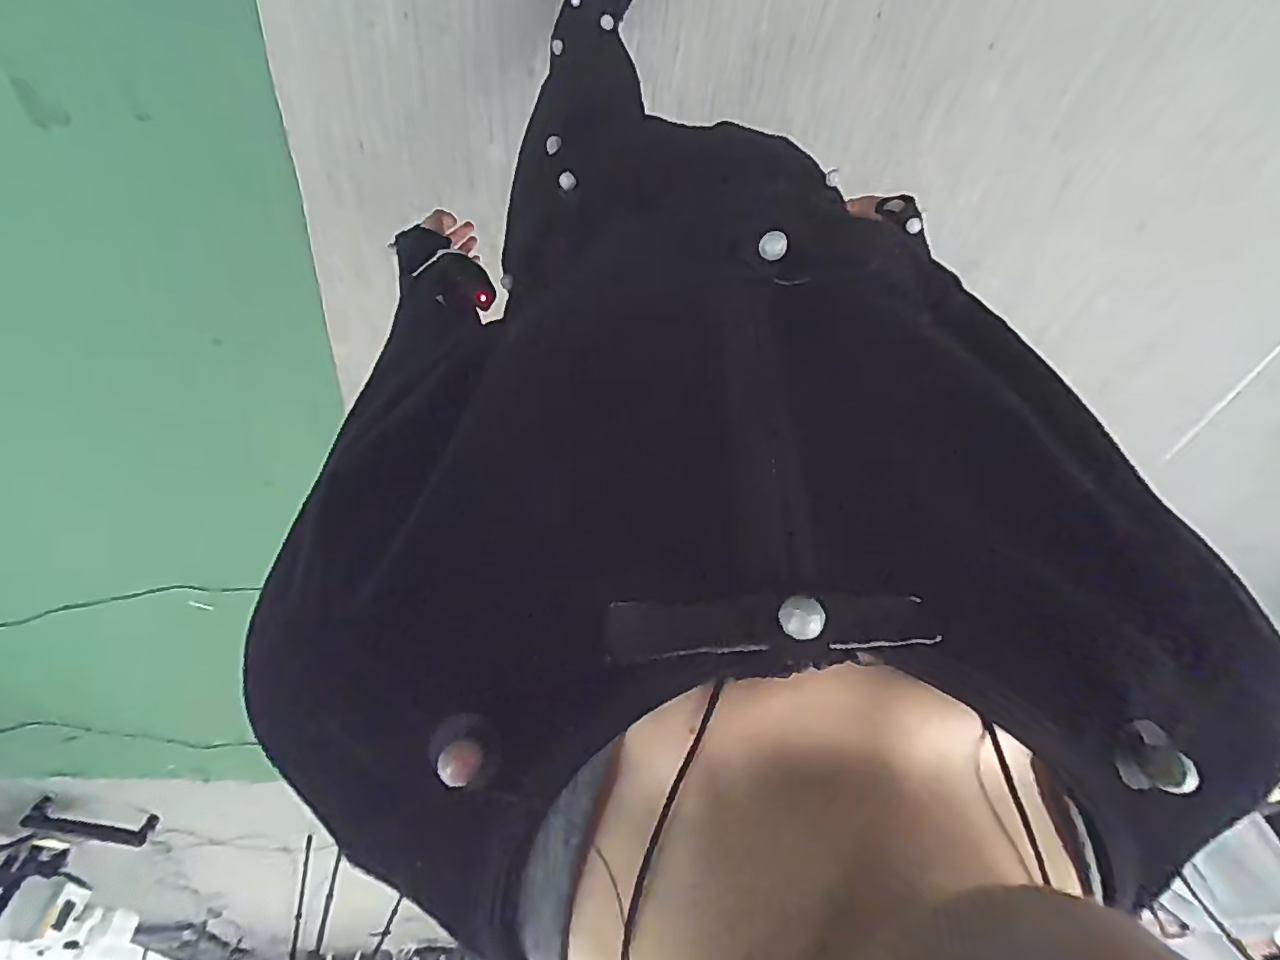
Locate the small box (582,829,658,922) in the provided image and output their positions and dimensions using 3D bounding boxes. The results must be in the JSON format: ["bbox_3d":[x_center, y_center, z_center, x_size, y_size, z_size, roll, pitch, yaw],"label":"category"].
[{"bbox_3d":[-0.058,1.044,1.430,0.179,0.176,0.168,4,131,-9],"label":"small box"}]

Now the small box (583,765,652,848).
[{"bbox_3d":[-0.069,0.937,1.555,0.179,0.176,0.168,4,131,-9],"label":"small box"}]
